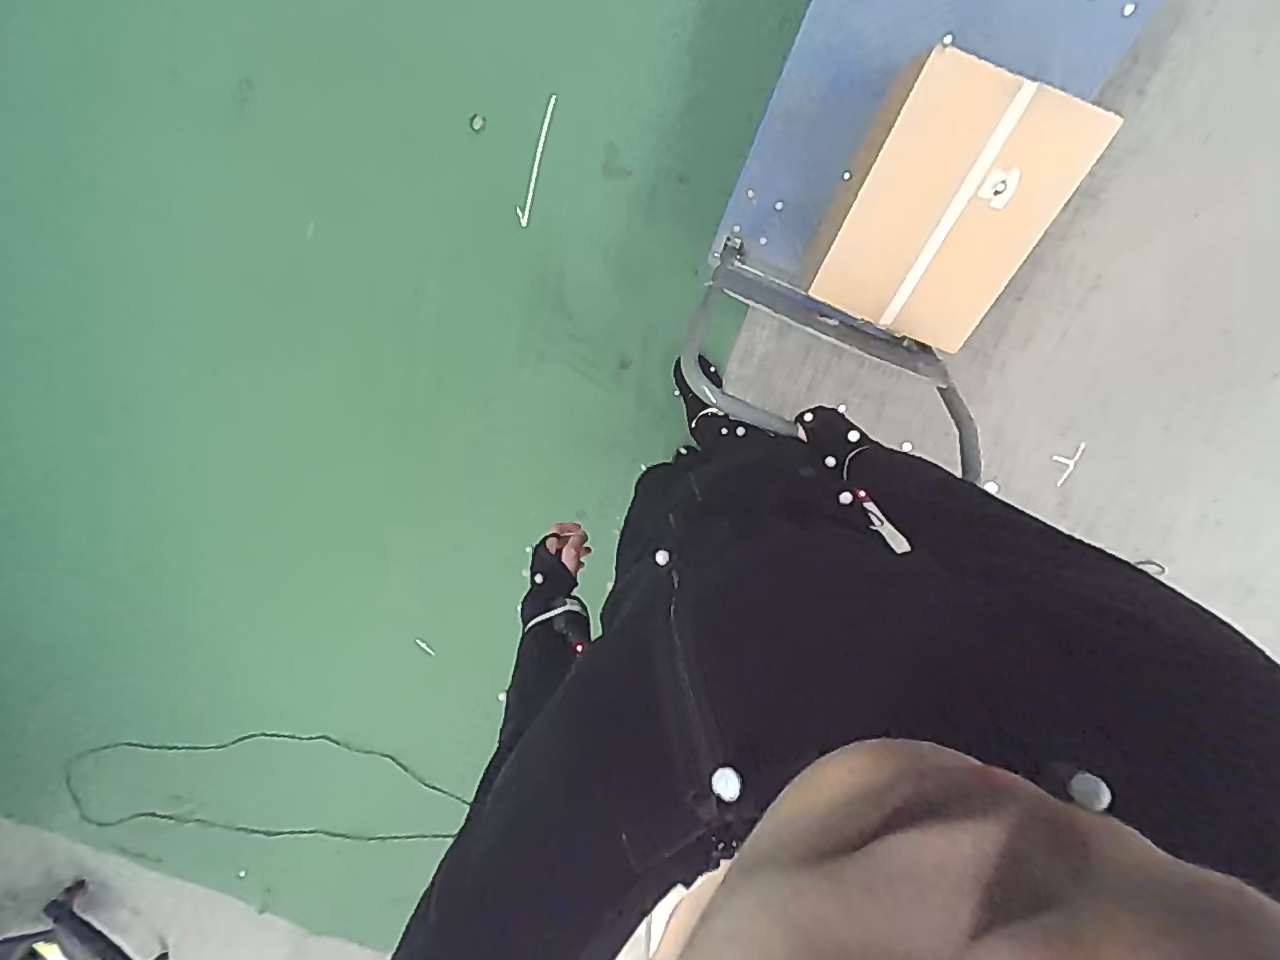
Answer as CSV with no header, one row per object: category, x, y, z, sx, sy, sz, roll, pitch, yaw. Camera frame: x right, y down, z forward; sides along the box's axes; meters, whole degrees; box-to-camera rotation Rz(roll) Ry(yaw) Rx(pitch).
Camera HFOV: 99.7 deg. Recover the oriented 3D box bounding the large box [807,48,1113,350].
large box,0.564,-0.532,1.066,0.320,0.320,0.408,22,123,-1
